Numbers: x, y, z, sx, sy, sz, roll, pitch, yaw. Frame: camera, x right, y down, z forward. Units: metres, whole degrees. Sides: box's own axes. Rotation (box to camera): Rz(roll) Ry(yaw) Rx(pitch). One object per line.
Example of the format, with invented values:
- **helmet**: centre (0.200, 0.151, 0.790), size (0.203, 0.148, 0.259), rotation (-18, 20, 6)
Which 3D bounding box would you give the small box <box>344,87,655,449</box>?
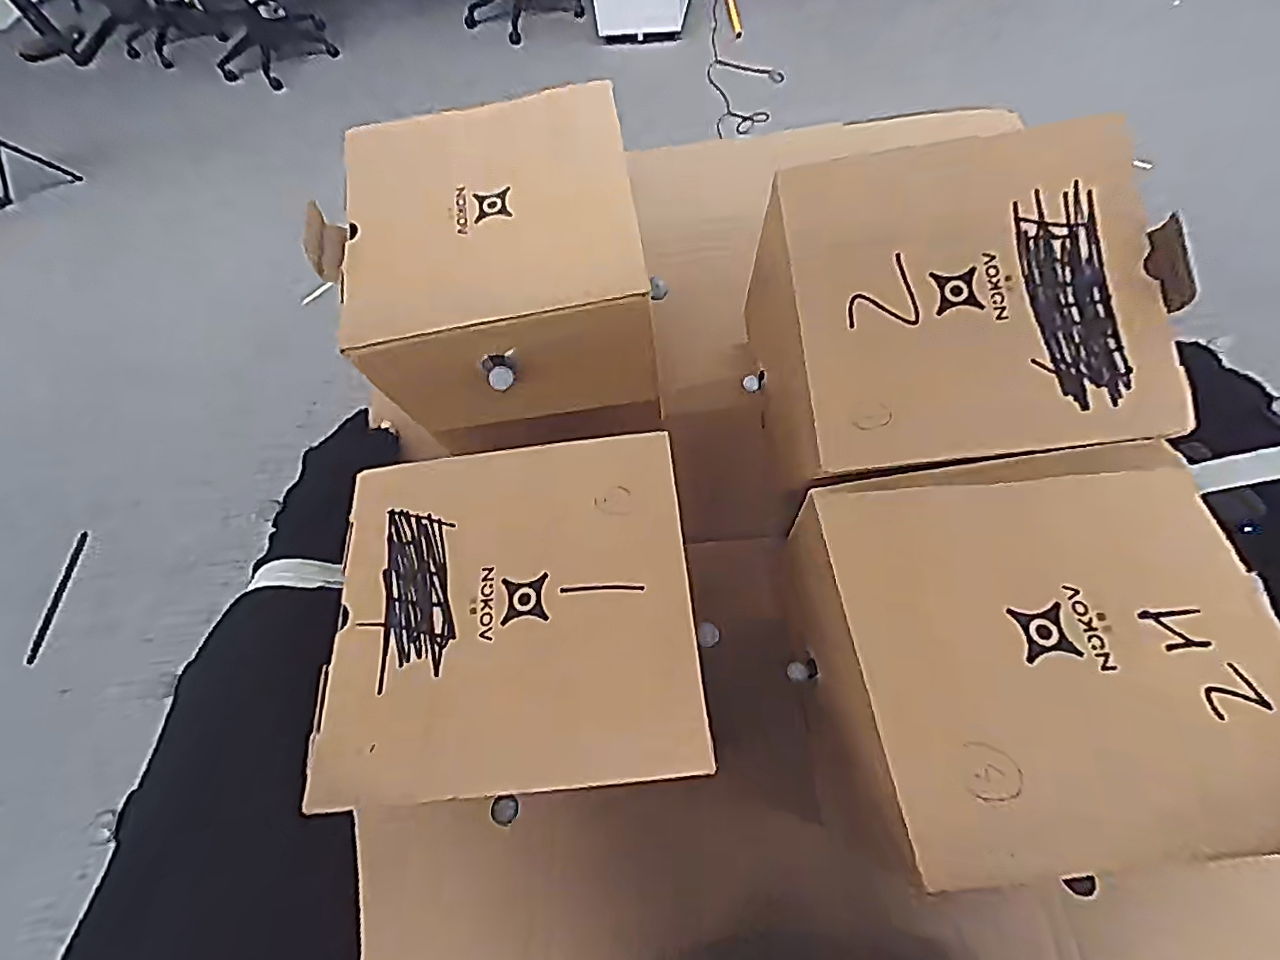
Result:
- **small box**: centre (-0.087, -0.138, 0.404), size (0.179, 0.176, 0.168), rotation (-11, 71, 3)
